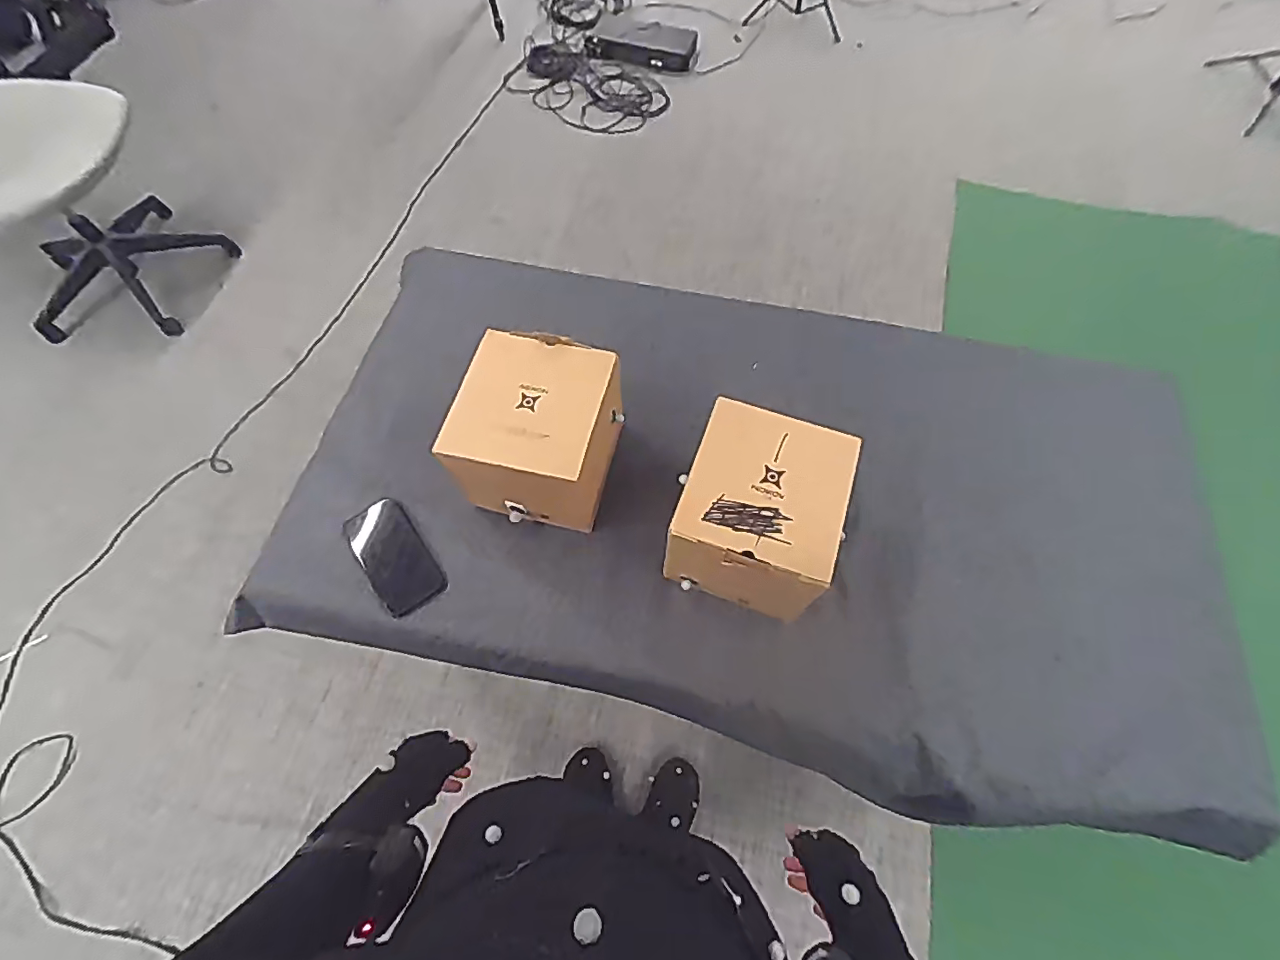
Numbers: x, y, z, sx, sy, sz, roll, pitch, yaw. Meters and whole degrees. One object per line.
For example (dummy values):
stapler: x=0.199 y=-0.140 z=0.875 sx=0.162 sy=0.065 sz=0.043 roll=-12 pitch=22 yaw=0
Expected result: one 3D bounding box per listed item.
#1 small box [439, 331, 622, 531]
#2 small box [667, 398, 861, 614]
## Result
small box: x=-0.121 y=-0.056 z=0.685 sx=0.168 sy=0.176 sz=0.179 roll=11 pitch=66 yaw=7
small box: x=0.135 y=0.039 z=0.636 sx=0.168 sy=0.176 sz=0.179 roll=18 pitch=65 yaw=9
